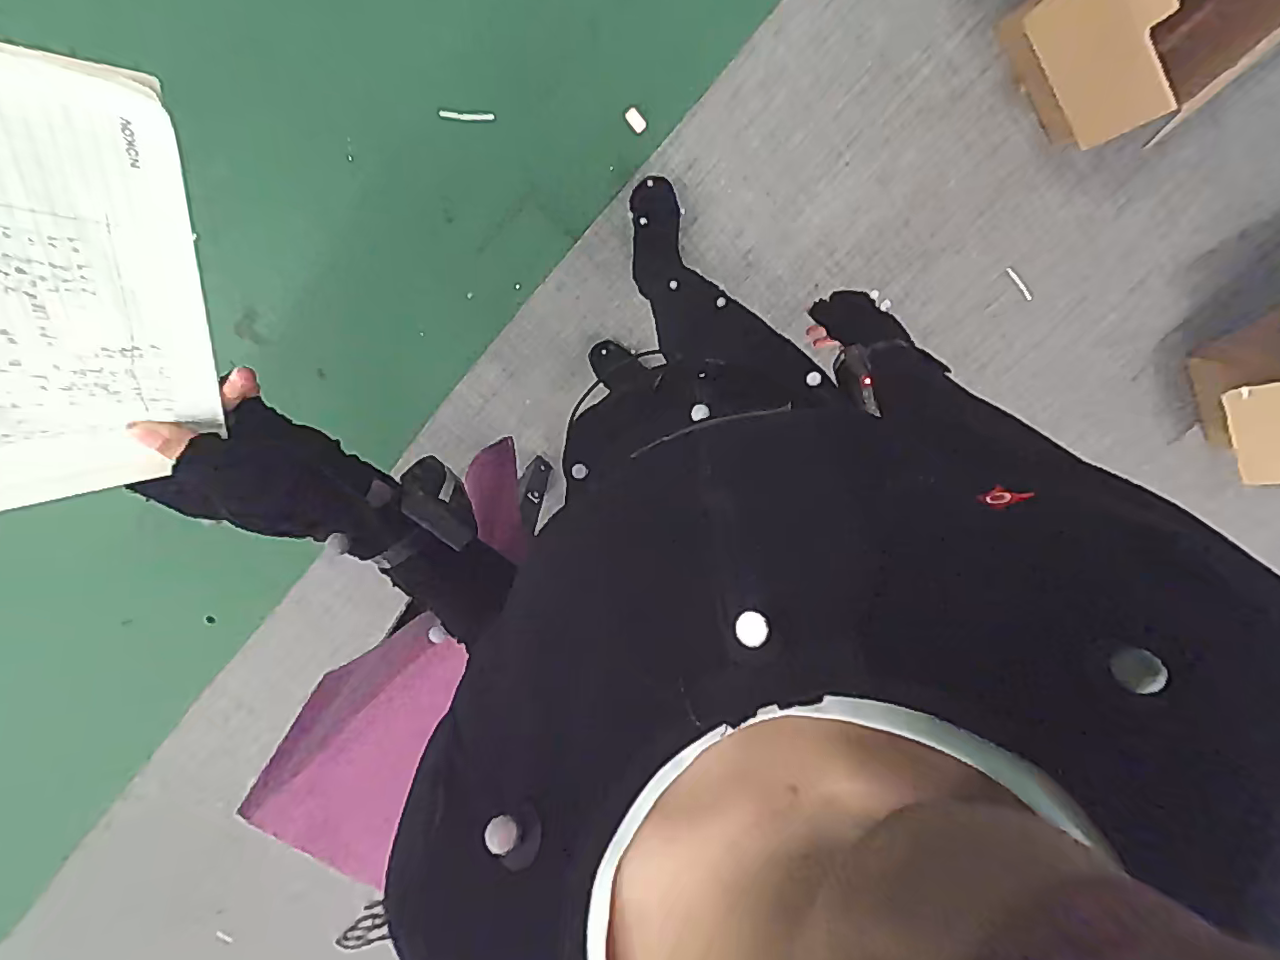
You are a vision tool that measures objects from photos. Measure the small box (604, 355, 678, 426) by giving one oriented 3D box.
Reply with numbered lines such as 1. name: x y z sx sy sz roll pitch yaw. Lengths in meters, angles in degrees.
1. small box: 0.004 -0.230 1.364 0.179 0.176 0.168 0 104 3
